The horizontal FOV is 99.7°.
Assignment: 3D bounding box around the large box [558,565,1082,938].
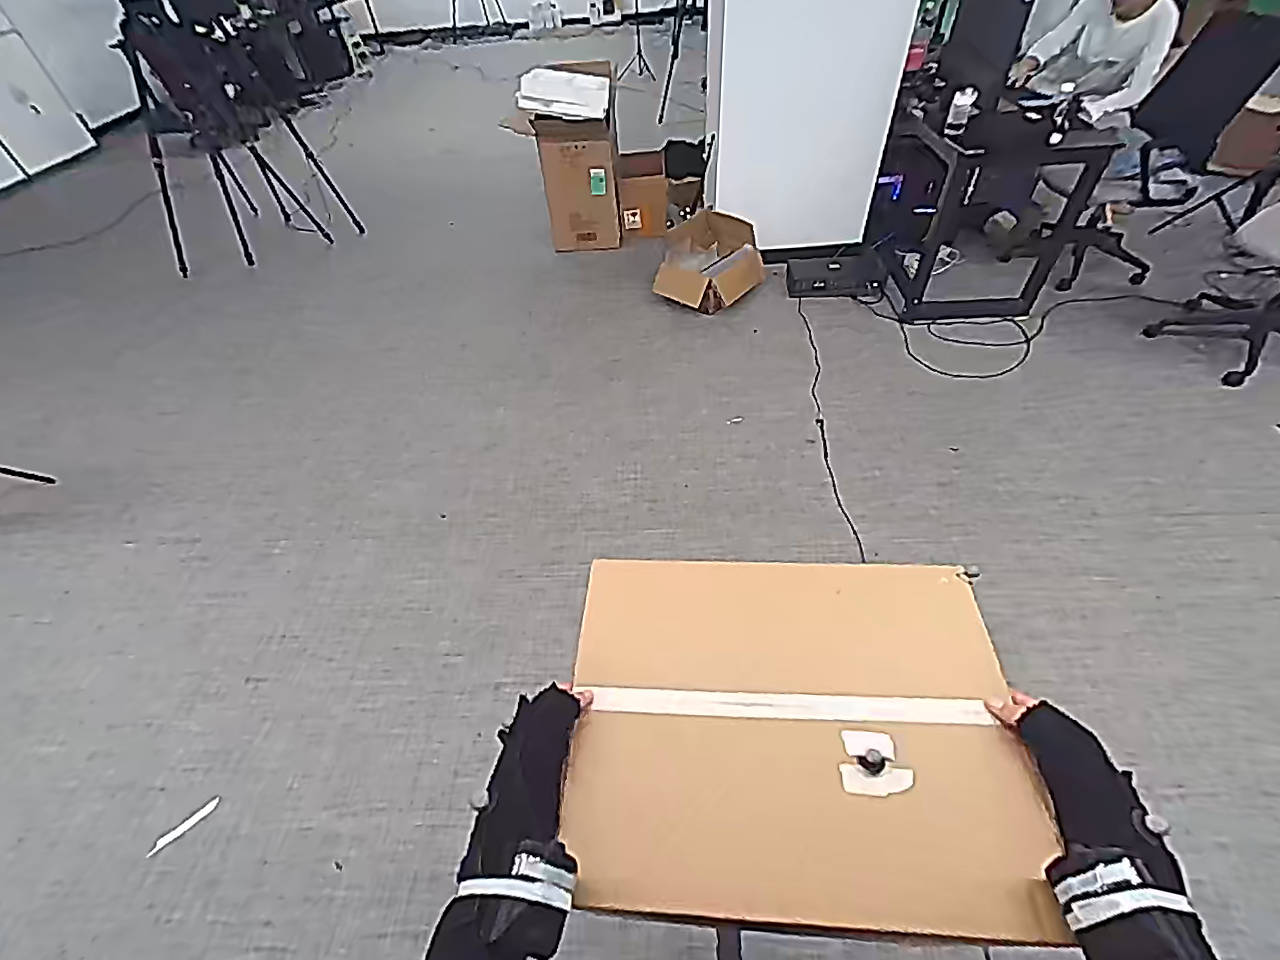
[{"bbox_3d":[0.146,0.310,0.620,0.408,0.320,0.320,0,50,5],"label":"large box"}]
